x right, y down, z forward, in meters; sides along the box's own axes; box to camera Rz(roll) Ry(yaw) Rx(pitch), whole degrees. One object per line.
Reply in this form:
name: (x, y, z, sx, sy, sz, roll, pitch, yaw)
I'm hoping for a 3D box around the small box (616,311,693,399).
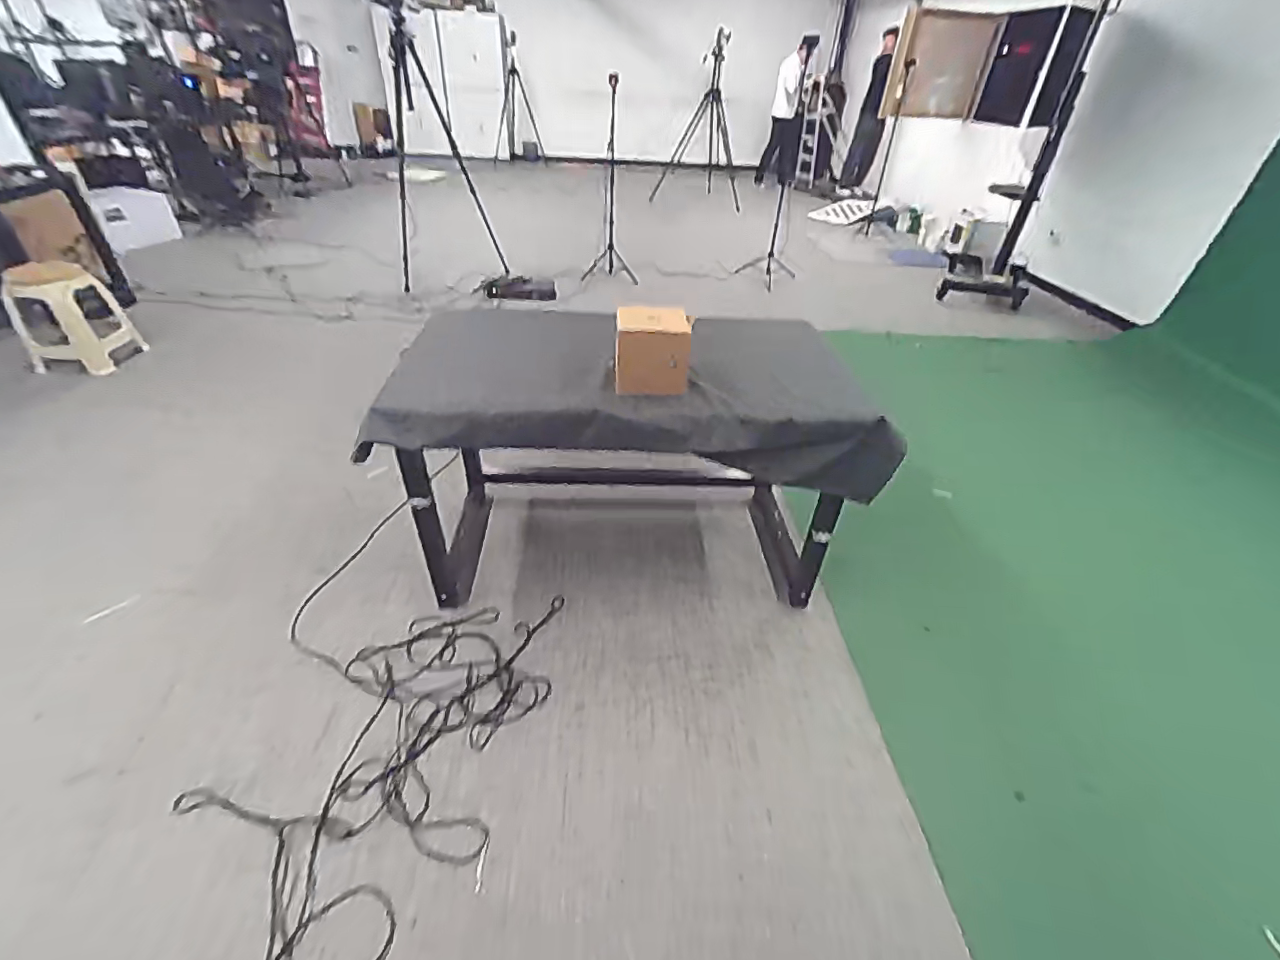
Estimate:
small box: (0.029, -0.313, 1.357, 0.179, 0.176, 0.168, -1, 36, -3)
